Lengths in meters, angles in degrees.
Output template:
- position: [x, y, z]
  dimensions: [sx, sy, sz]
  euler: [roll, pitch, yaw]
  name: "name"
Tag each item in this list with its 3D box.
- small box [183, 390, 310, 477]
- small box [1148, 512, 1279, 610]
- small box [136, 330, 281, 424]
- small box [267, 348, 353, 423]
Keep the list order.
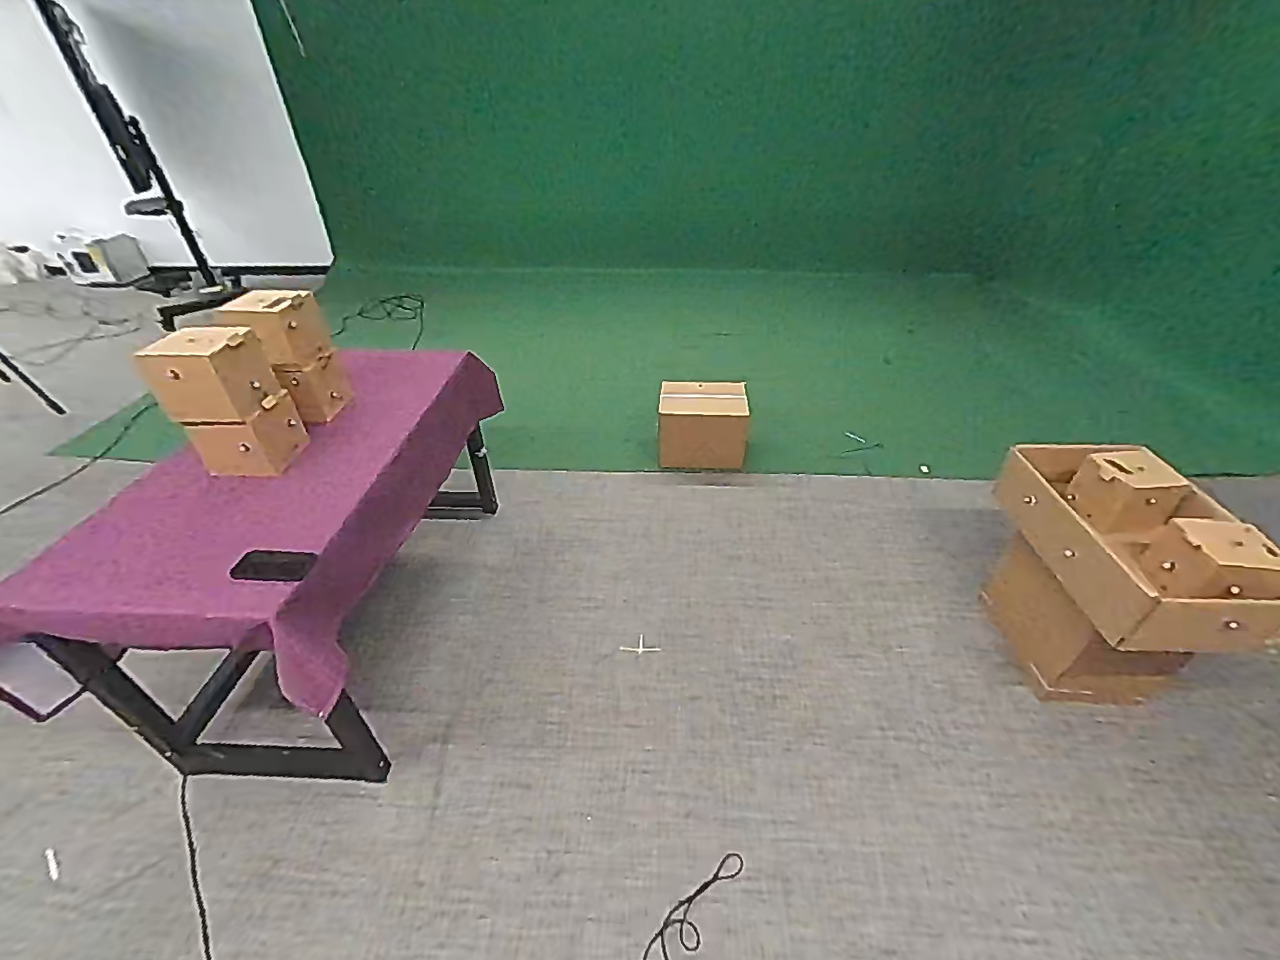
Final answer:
- position: [-0.995, -0.118, 1.389]
  dimensions: [0.179, 0.176, 0.168]
  euler: [0, 37, 3]
  name: "small box"
- position: [1.397, 0.197, 1.314]
  dimensions: [0.179, 0.176, 0.168]
  euler: [4, 38, 9]
  name: "small box"
- position: [-1.009, -0.243, 1.282]
  dimensions: [0.179, 0.176, 0.168]
  euler: [0, 37, 2]
  name: "small box"
- position: [-0.993, -0.279, 1.600]
  dimensions: [0.179, 0.176, 0.168]
  euler: [1, 37, 2]
  name: "small box"
